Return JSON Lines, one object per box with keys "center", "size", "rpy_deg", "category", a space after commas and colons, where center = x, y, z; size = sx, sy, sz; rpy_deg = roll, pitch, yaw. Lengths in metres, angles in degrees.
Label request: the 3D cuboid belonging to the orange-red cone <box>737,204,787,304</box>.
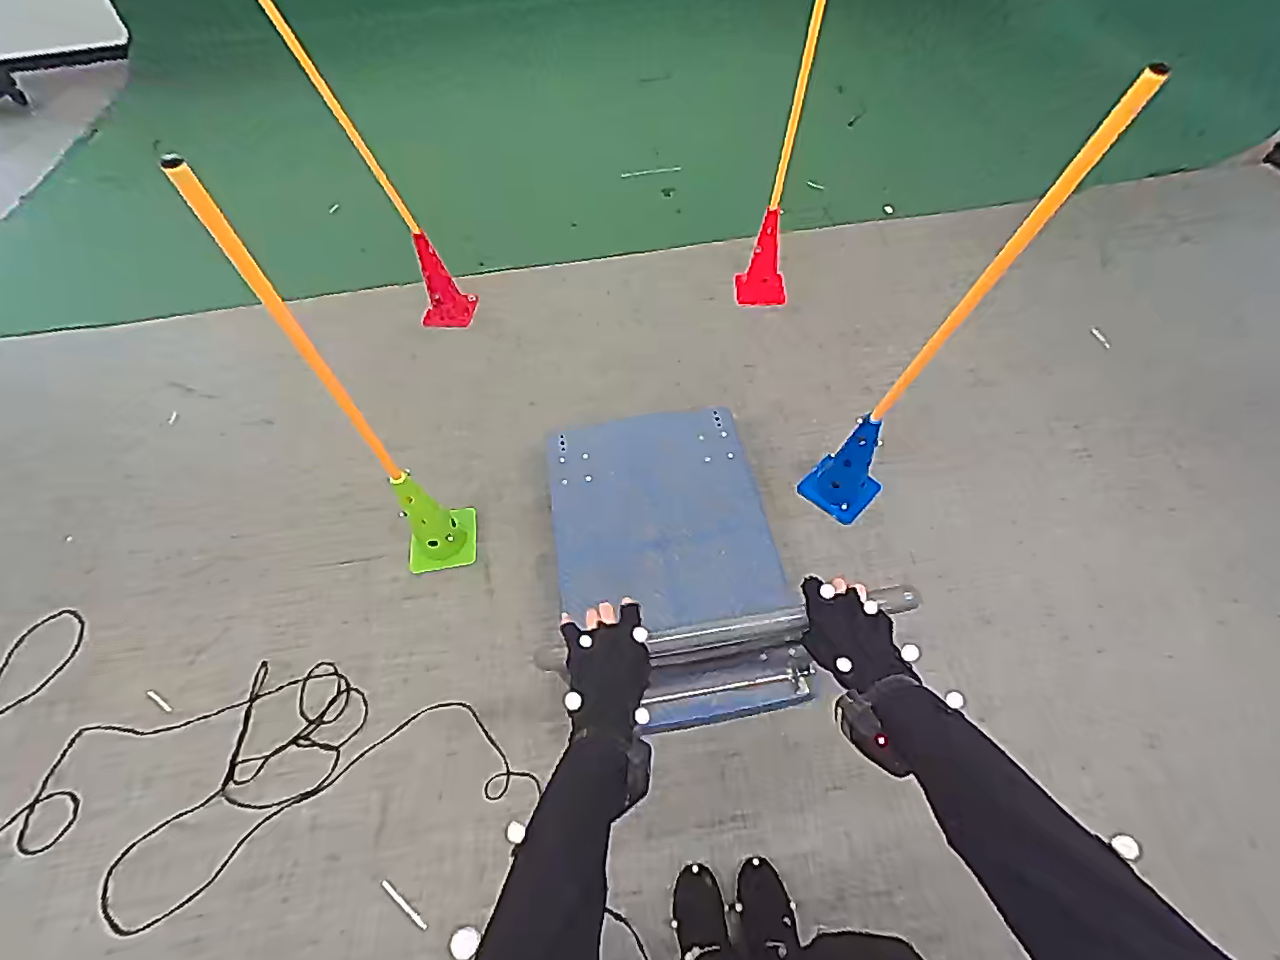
{"center": [0.490, -0.884, 2.088], "size": [0.198, 0.360, 0.199], "rpy_deg": [0, 58, 5], "category": "orange-red cone"}
